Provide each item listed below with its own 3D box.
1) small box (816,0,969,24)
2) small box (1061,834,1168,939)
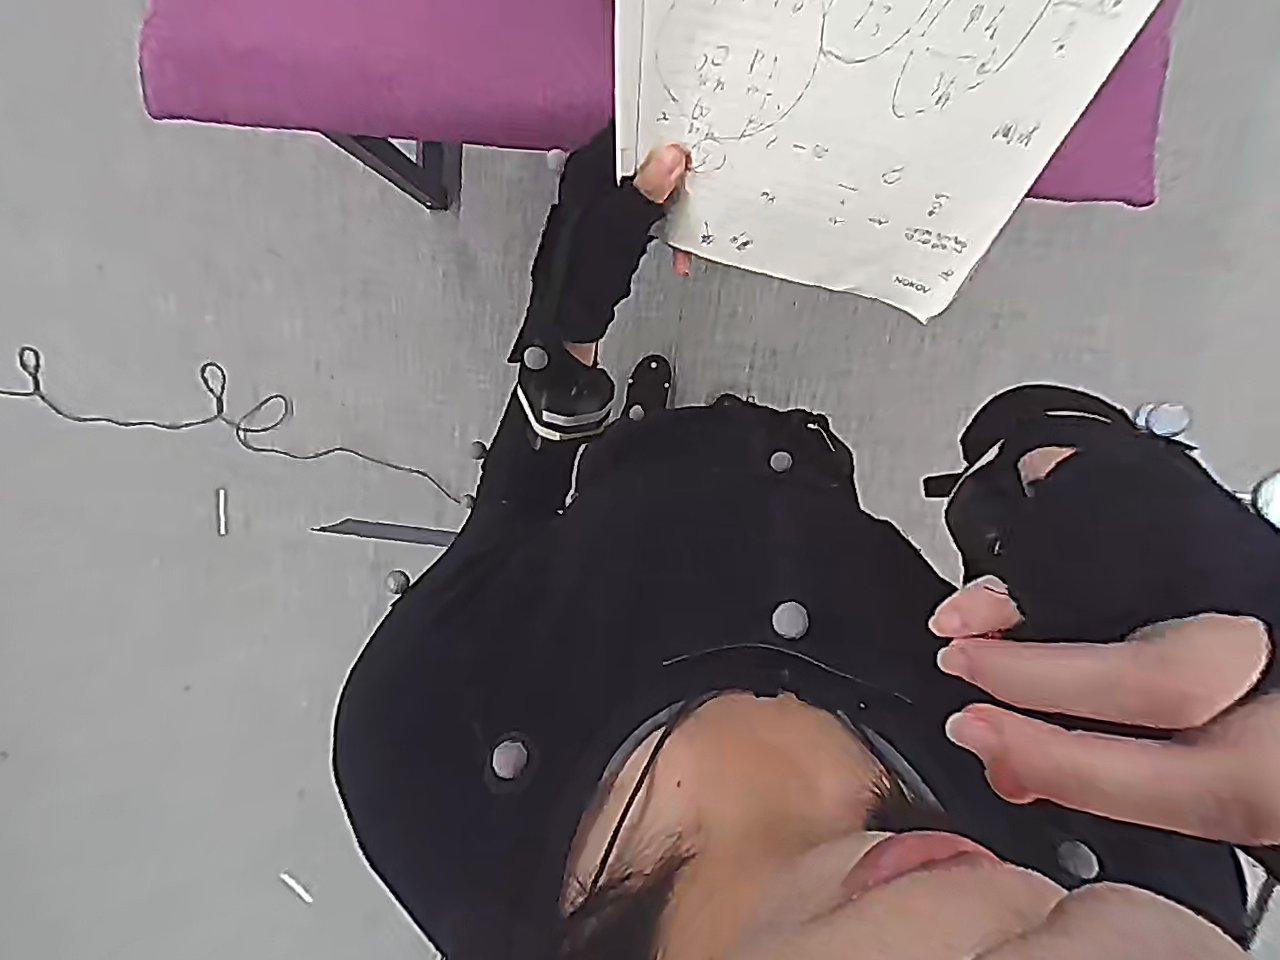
[{"bbox_3d":[0.301,-0.618,0.555,0.179,0.176,0.168,9,99,2],"label":"small box"},{"bbox_3d":[1.410,1.209,1.616,0.168,0.176,0.179,-16,99,5],"label":"small box"}]
